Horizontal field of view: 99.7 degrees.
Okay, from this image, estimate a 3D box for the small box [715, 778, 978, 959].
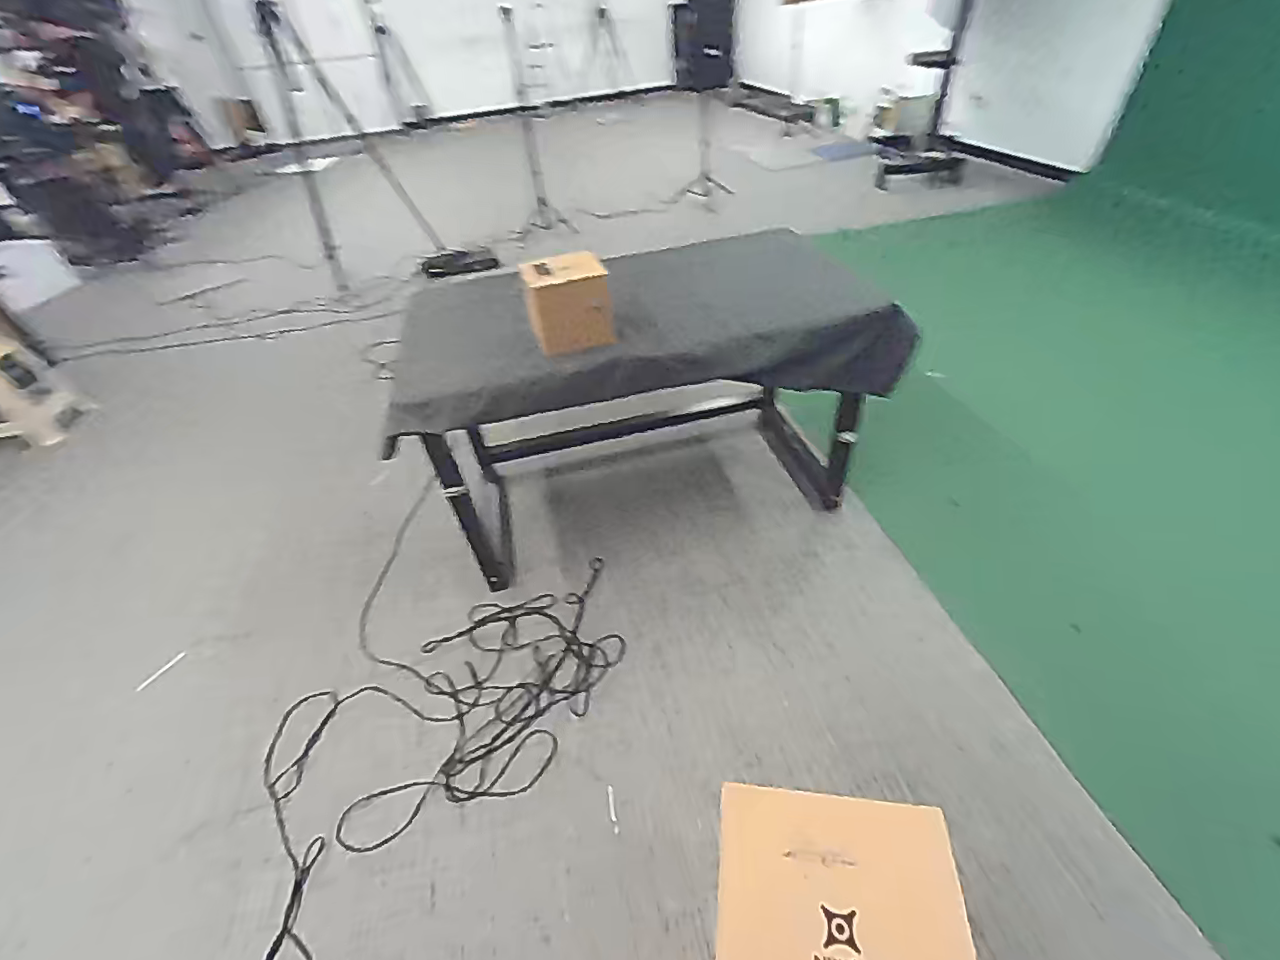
[{"bbox_3d":[0.142,0.358,0.411,0.168,0.176,0.179,1,41,9],"label":"small box"}]
